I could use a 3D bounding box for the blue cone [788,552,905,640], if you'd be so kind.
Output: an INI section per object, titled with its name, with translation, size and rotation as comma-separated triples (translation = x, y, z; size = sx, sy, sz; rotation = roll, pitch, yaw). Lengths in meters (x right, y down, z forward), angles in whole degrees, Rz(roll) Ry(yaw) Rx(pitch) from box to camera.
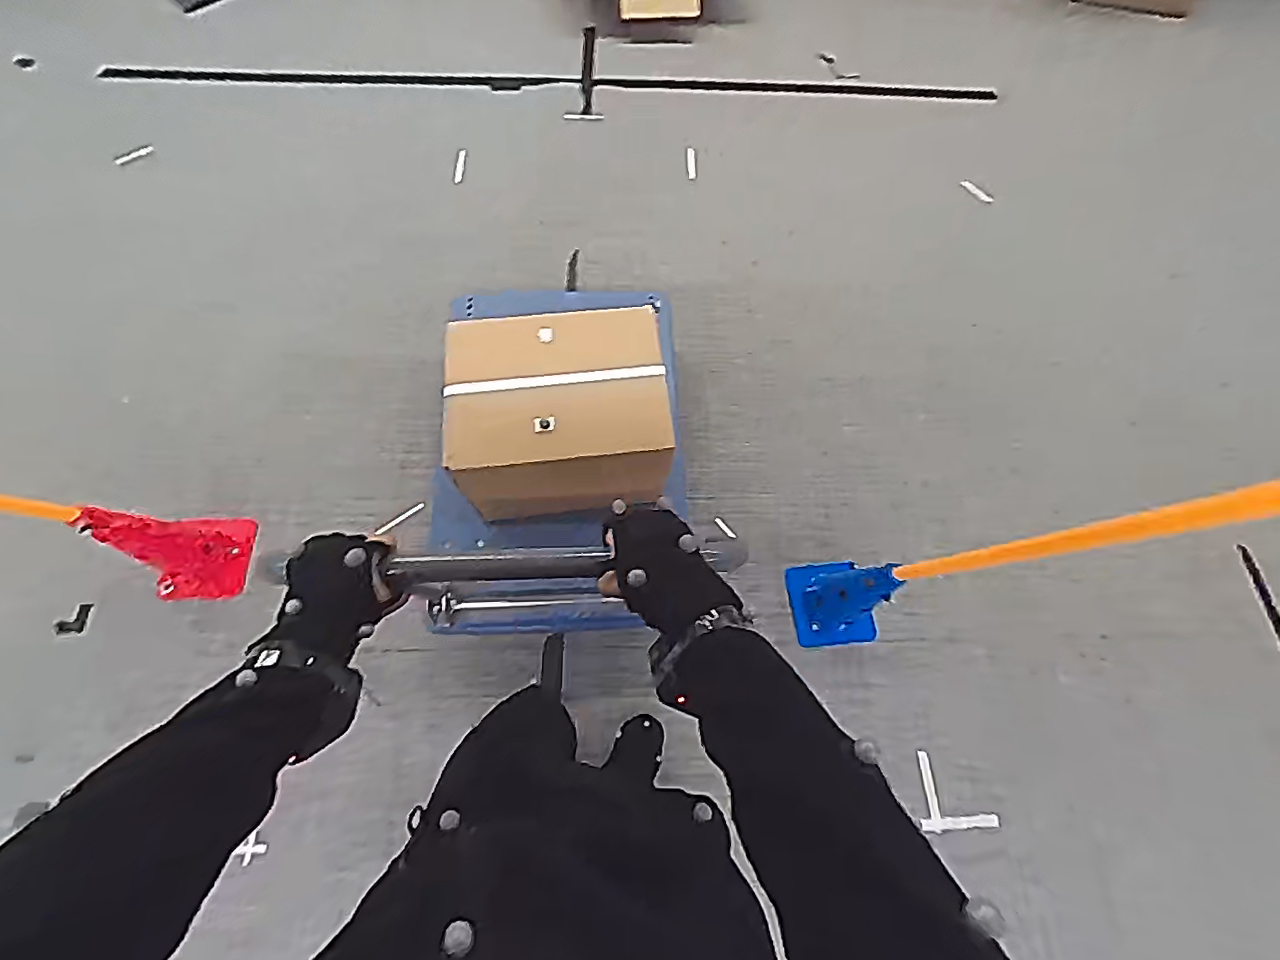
[blue cone]
translation = 0.484, 0.236, 1.199
size = 0.193, 0.380, 0.192
rotation = -3, 68, -4
